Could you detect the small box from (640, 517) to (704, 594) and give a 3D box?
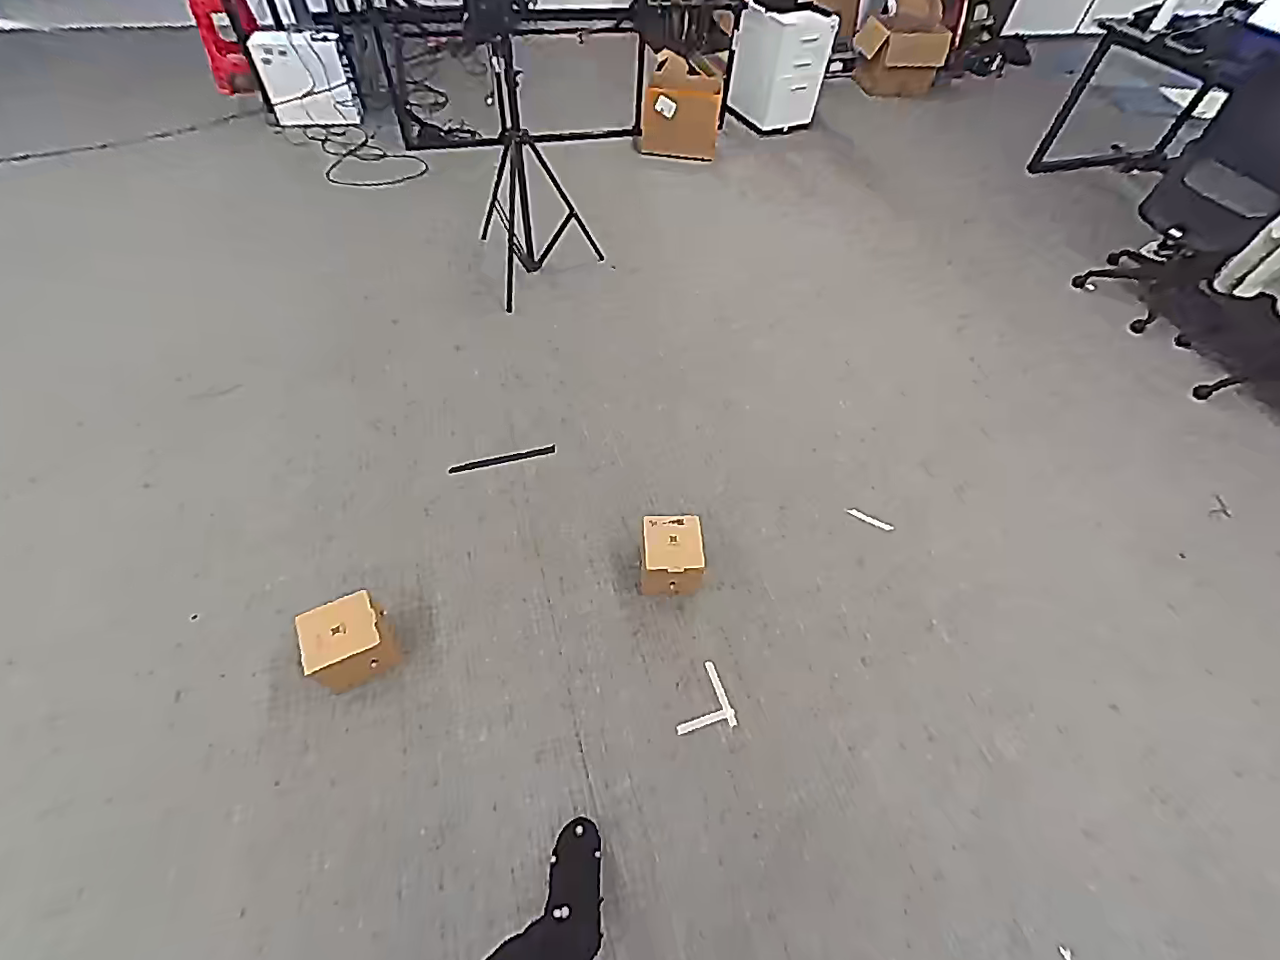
[{"bbox_3d":[0.088,0.225,1.585,0.168,0.176,0.179,0,54,-5],"label":"small box"}]

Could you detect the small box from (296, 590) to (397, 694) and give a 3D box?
[{"bbox_3d":[-0.742,0.418,1.384,0.179,0.176,0.168,-23,57,-18],"label":"small box"}]
